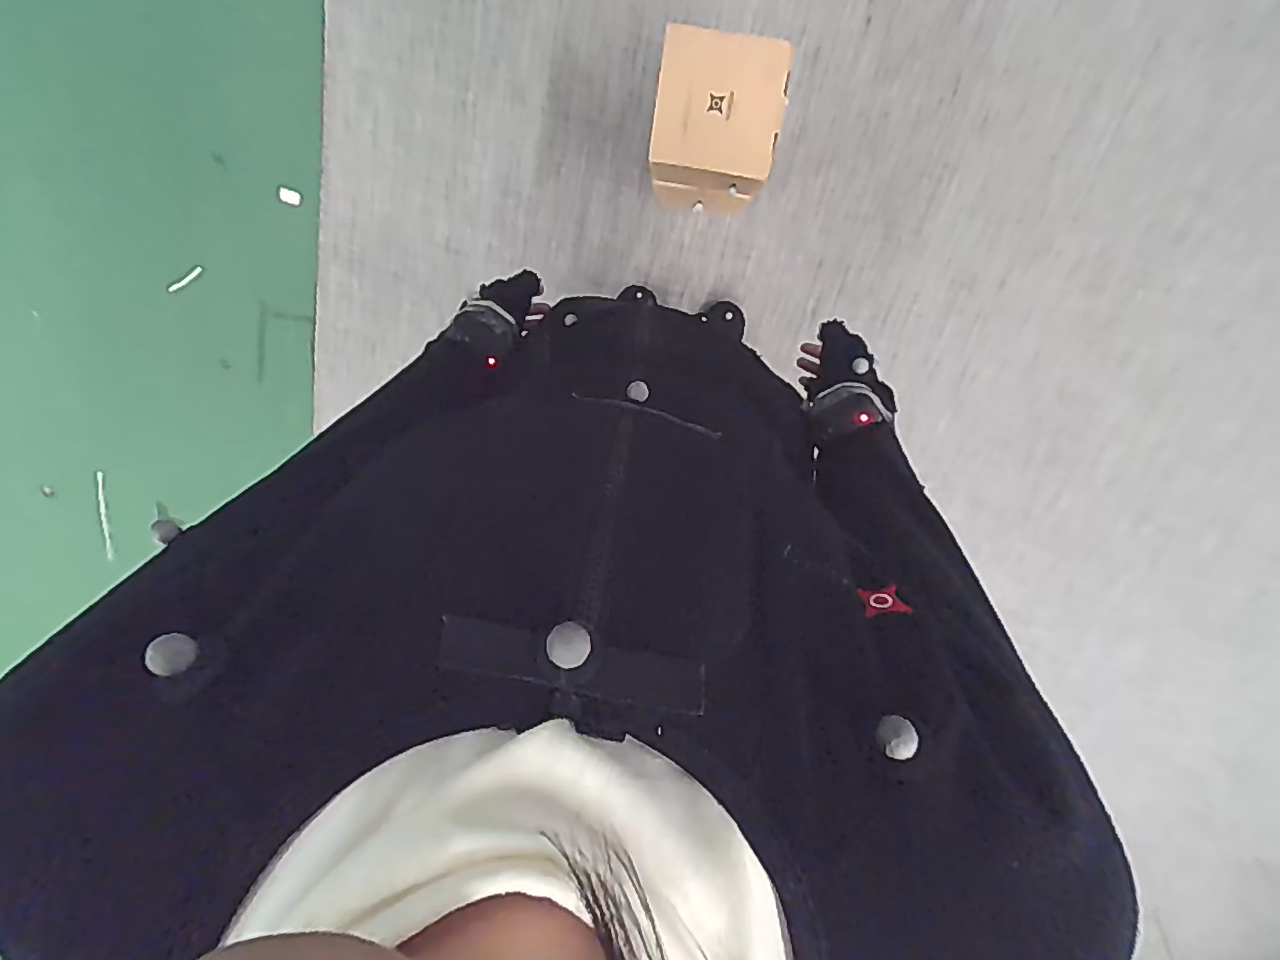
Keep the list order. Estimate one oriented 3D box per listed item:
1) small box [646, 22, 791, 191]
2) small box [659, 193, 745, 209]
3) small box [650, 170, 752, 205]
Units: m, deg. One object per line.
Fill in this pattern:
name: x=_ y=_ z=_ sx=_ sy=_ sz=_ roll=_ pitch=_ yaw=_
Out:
small box: x=0.112 y=-0.551 z=0.822 sx=0.179 sy=0.176 sz=0.168 roll=9 pitch=110 yaw=2
small box: x=0.135 y=-0.666 z=1.126 sx=0.179 sy=0.176 sz=0.168 roll=5 pitch=111 yaw=2
small box: x=0.120 y=-0.605 z=0.975 sx=0.179 sy=0.176 sz=0.168 roll=10 pitch=111 yaw=1
